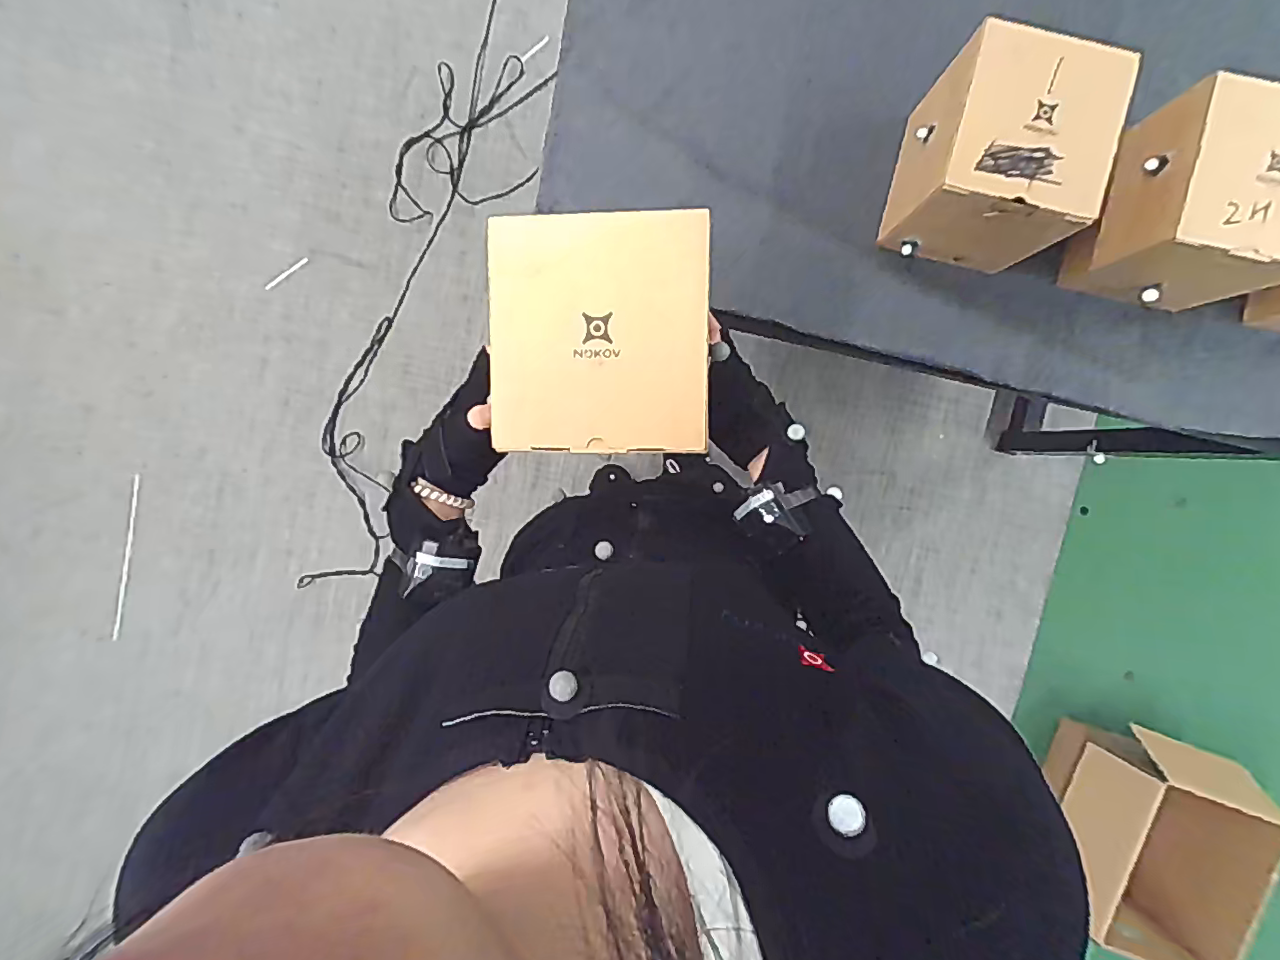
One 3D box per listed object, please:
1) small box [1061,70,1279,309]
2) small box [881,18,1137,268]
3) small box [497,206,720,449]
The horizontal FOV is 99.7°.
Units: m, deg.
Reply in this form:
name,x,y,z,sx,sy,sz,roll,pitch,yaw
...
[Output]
name,x,y,z,sx,sy,sz,roll,pitch,yaw
small box,0.648,-0.322,0.637,0.168,0.176,0.179,12,93,0
small box,0.411,-0.374,0.637,0.168,0.176,0.179,14,93,-1
small box,-0.020,-0.118,0.478,0.168,0.176,0.179,0,96,5
